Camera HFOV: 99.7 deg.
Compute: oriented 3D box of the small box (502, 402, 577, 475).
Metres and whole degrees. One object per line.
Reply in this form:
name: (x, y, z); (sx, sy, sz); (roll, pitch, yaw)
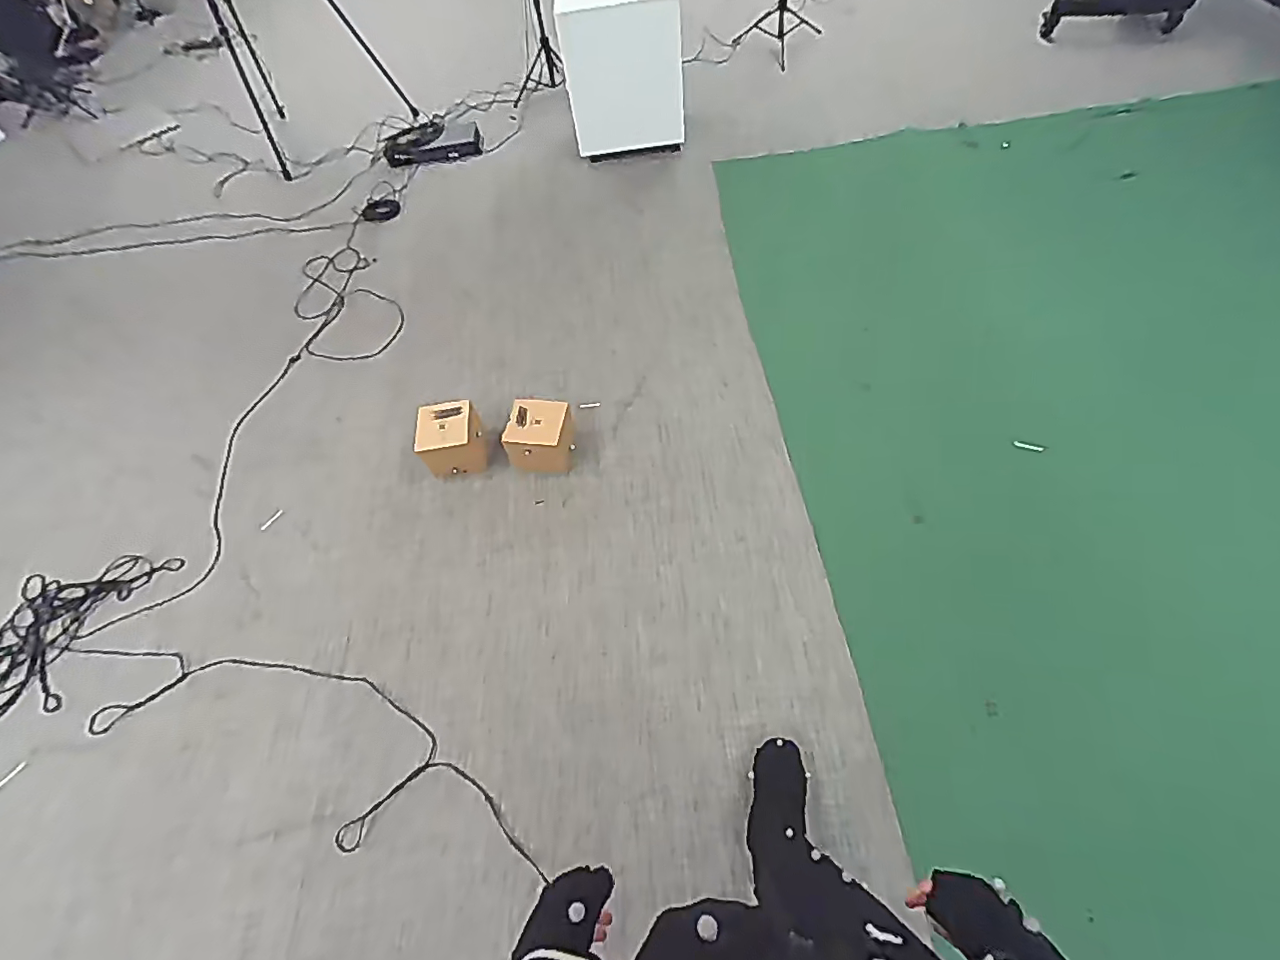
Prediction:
small box: (-0.312, -0.129, 1.713); (0.179, 0.176, 0.168); (5, 60, 8)
